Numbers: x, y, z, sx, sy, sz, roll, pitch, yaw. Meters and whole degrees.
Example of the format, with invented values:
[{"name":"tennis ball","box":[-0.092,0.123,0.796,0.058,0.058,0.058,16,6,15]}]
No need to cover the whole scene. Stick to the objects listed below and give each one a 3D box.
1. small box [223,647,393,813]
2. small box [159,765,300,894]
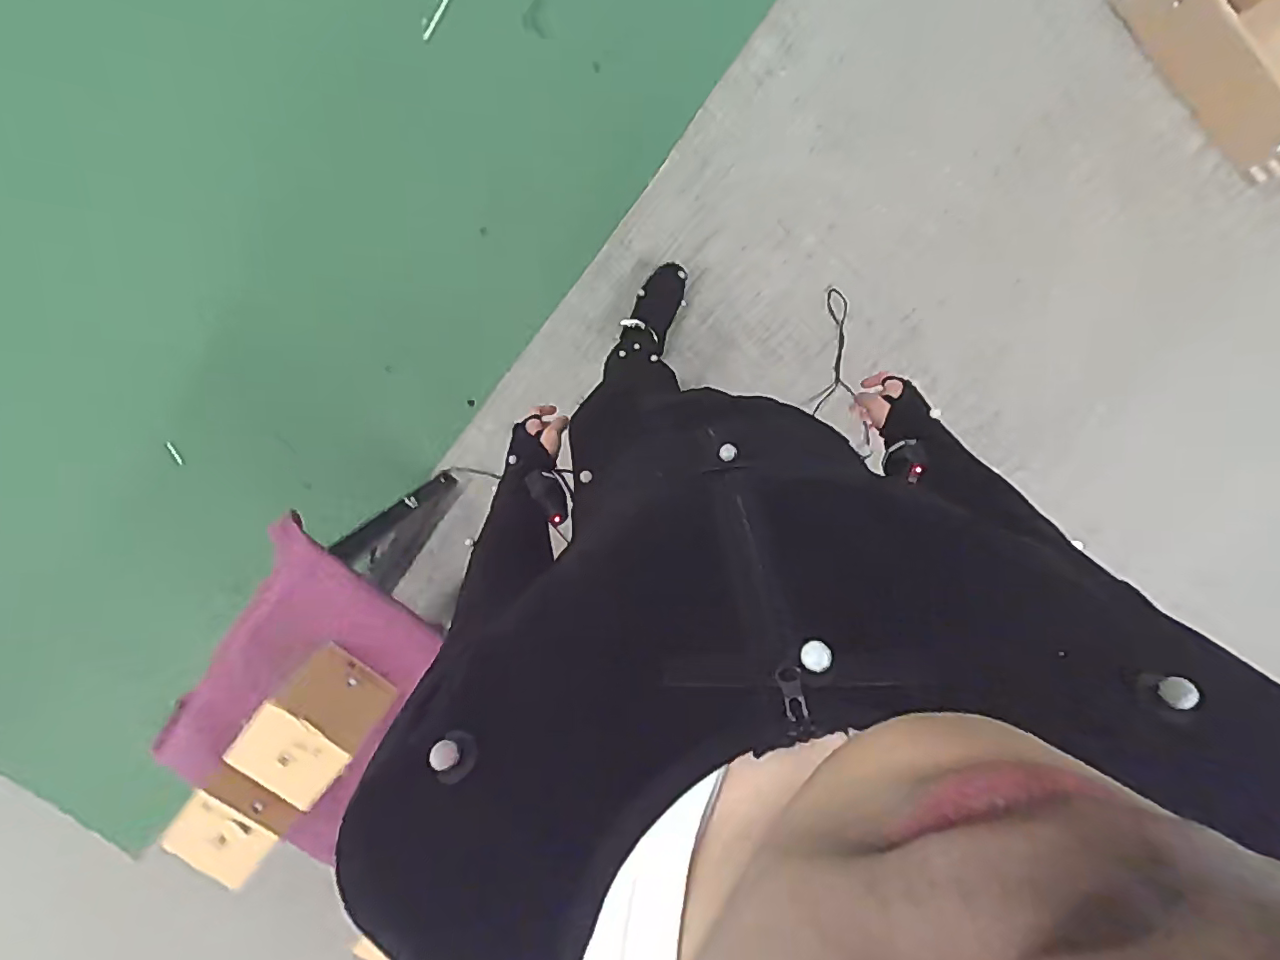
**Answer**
[{"name":"small box","box":[-0.588,0.445,0.981,0.168,0.176,0.179,40,106,-9]},{"name":"small box","box":[-0.756,0.635,1.049,0.168,0.176,0.179,38,104,-8]}]
